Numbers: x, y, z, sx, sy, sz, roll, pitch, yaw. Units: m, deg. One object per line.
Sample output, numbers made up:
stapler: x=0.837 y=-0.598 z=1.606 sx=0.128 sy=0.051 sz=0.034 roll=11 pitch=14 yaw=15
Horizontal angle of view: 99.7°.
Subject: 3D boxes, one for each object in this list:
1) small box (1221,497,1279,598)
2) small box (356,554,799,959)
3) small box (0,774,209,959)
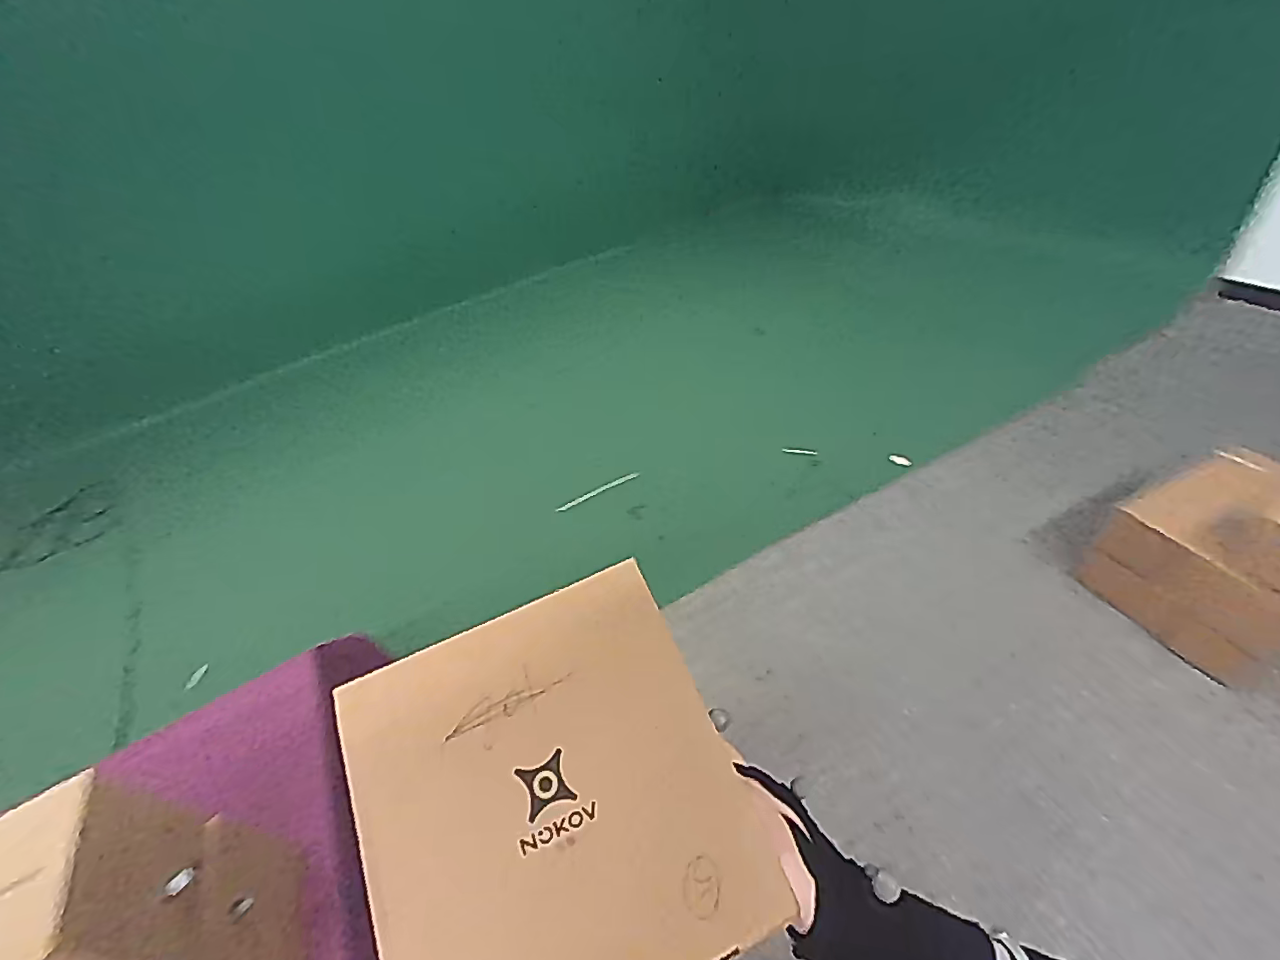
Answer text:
small box: x=1.408 y=0.135 z=1.139 sx=0.179 sy=0.176 sz=0.168 roll=-21 pitch=43 yaw=-10
small box: x=-0.036 y=0.174 z=0.322 sx=0.168 sy=0.176 sz=0.179 roll=-21 pitch=63 yaw=-10
small box: x=-0.553 y=0.425 z=0.501 sx=0.179 sy=0.176 sz=0.168 roll=-29 pitch=44 yaw=-16
